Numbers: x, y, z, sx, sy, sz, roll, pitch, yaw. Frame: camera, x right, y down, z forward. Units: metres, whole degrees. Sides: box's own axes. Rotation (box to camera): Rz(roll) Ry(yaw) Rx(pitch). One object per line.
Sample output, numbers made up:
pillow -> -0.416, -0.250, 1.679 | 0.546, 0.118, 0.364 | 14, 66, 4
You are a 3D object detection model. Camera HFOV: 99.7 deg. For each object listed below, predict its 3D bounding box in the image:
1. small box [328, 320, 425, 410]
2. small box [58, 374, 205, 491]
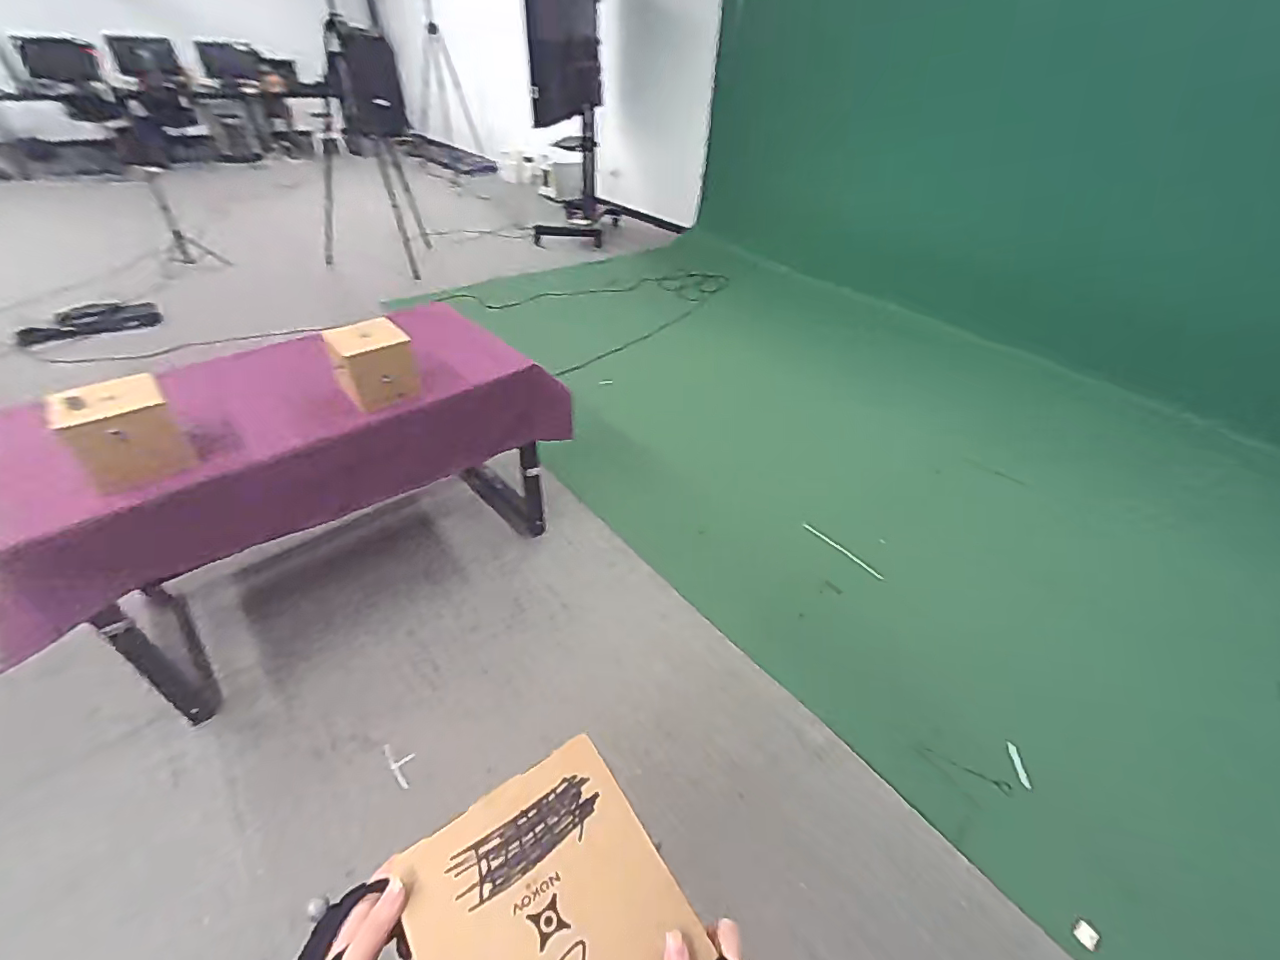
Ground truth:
small box -> -0.701, -0.305, 1.451 | 0.168, 0.176, 0.179 | -27, 48, -32
small box -> -1.098, -0.103, 1.175 | 0.179, 0.176, 0.168 | -27, 48, -33
